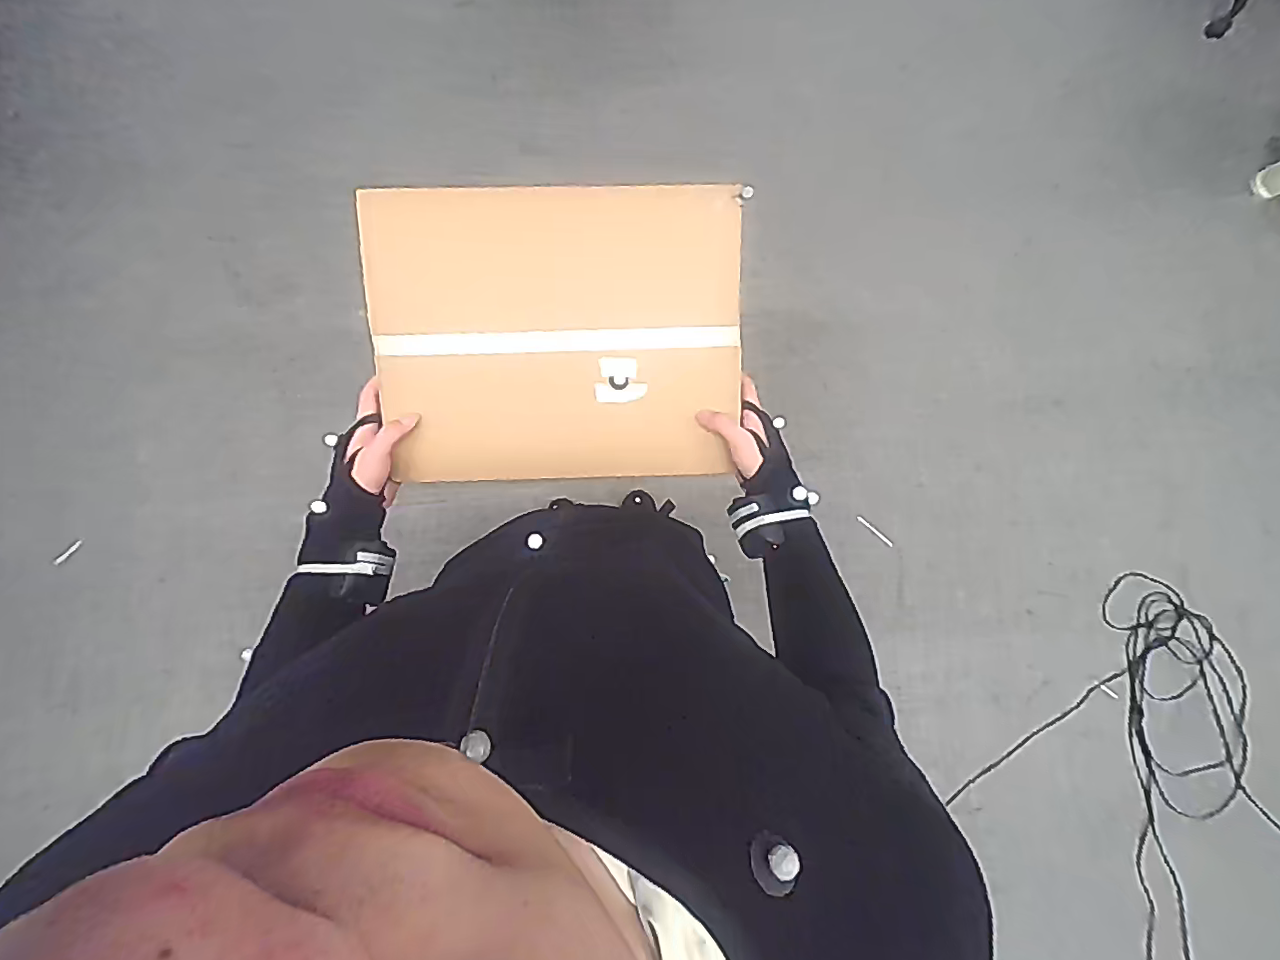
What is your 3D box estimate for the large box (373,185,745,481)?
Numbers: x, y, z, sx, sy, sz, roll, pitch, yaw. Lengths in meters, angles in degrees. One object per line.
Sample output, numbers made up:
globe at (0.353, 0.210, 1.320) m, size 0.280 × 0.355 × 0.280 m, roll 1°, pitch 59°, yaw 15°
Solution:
large box at (-0.088, -0.189, 0.753) m, size 0.408 × 0.320 × 0.320 m, roll -2°, pitch 103°, yaw -2°
